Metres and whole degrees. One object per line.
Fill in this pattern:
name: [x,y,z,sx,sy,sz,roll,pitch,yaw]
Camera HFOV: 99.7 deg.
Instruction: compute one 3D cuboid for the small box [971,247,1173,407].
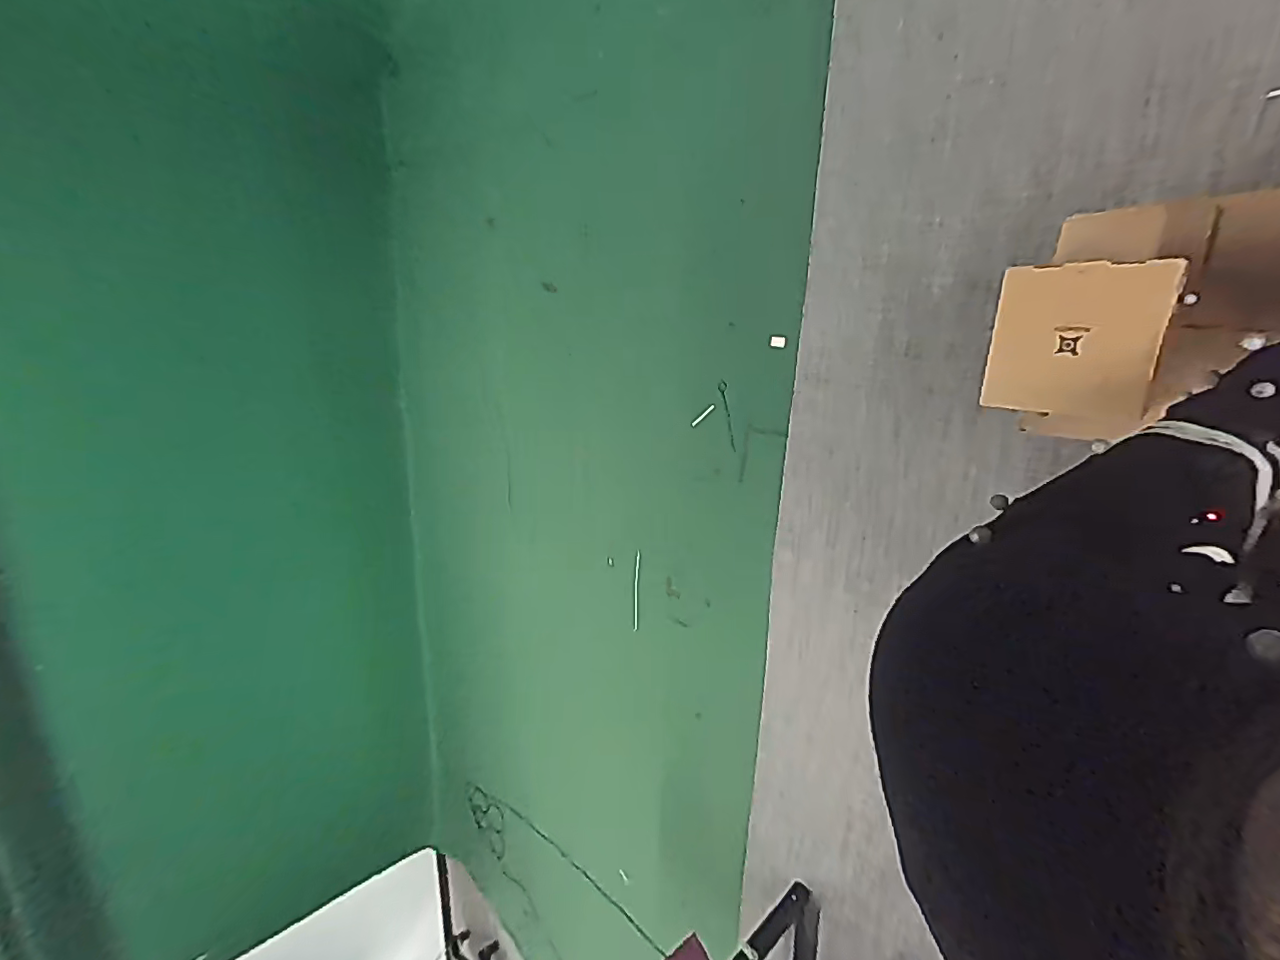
small box: [0.565,-0.200,0.709,0.168,0.176,0.179,18,113,43]
